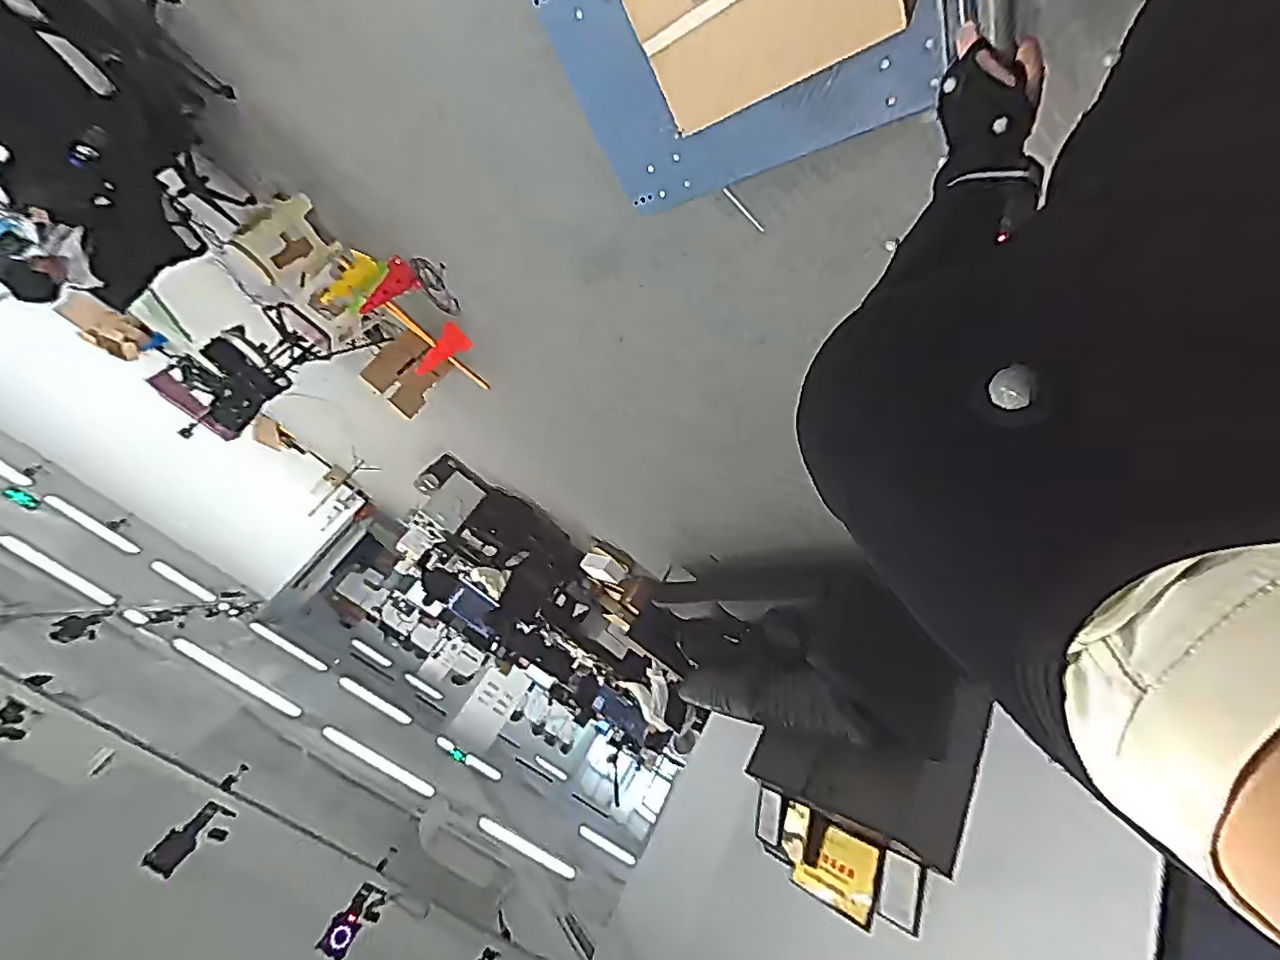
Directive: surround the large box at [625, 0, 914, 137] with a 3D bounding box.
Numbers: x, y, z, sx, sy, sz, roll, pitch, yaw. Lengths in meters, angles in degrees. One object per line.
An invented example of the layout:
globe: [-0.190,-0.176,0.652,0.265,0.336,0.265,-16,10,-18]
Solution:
large box: [0.224,-0.887,0.915,0.408,0.320,0.320,-3,138,38]
